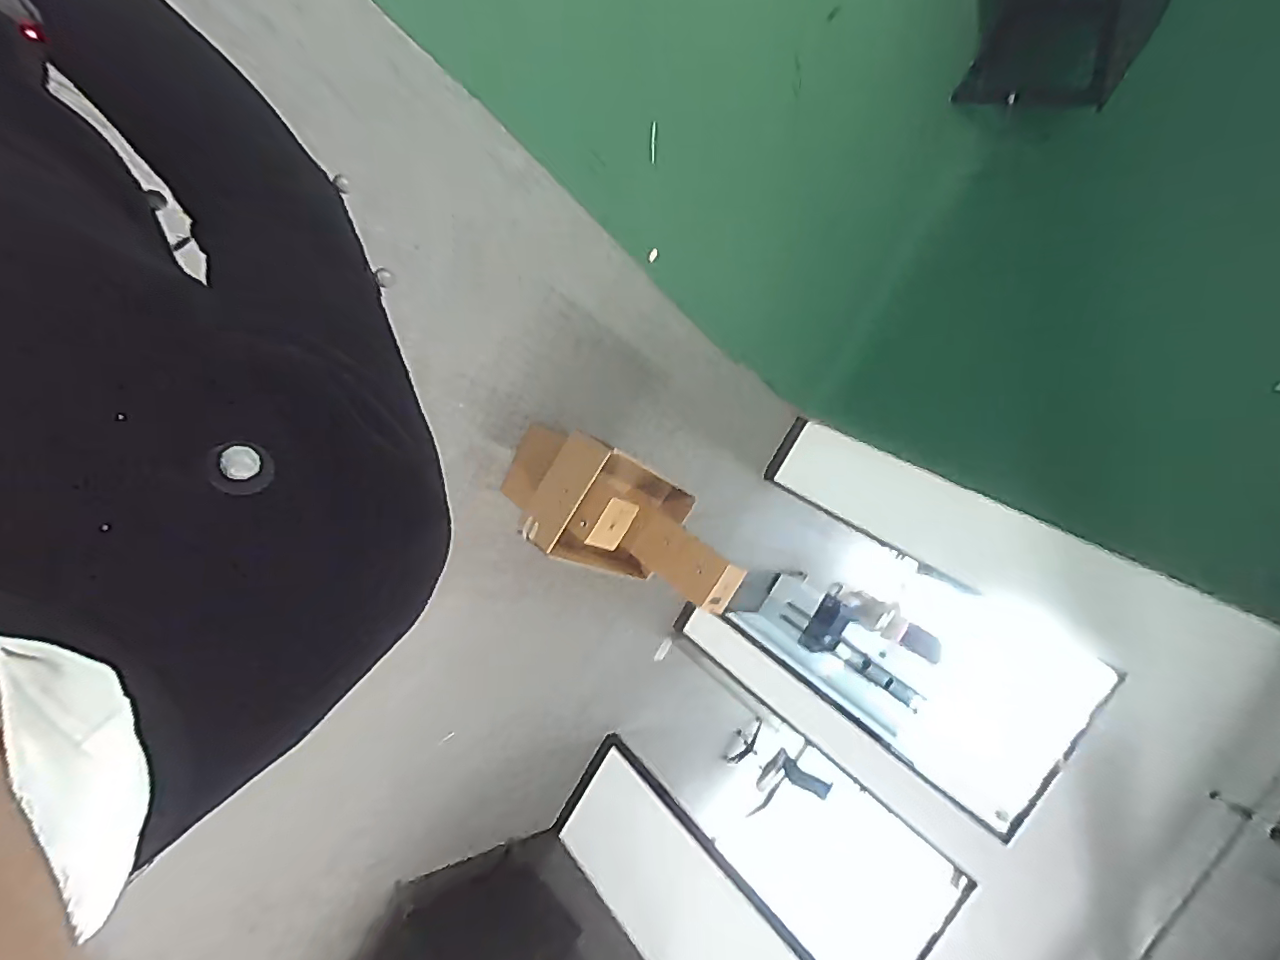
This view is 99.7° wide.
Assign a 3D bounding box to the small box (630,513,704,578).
[{"bbox_3d":[0.093,0.242,1.937,0.179,0.176,0.168,-58,143,1],"label":"small box"}]

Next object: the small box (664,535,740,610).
[{"bbox_3d":[0.205,0.316,1.841,0.179,0.176,0.168,-59,144,1],"label":"small box"}]

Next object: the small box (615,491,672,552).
[{"bbox_3d":[-0.019,0.167,2.030,0.179,0.176,0.168,-57,144,1],"label":"small box"}]

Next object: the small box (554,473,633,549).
[{"bbox_3d":[-0.161,0.104,1.804,0.168,0.176,0.179,25,96,-56],"label":"small box"}]
